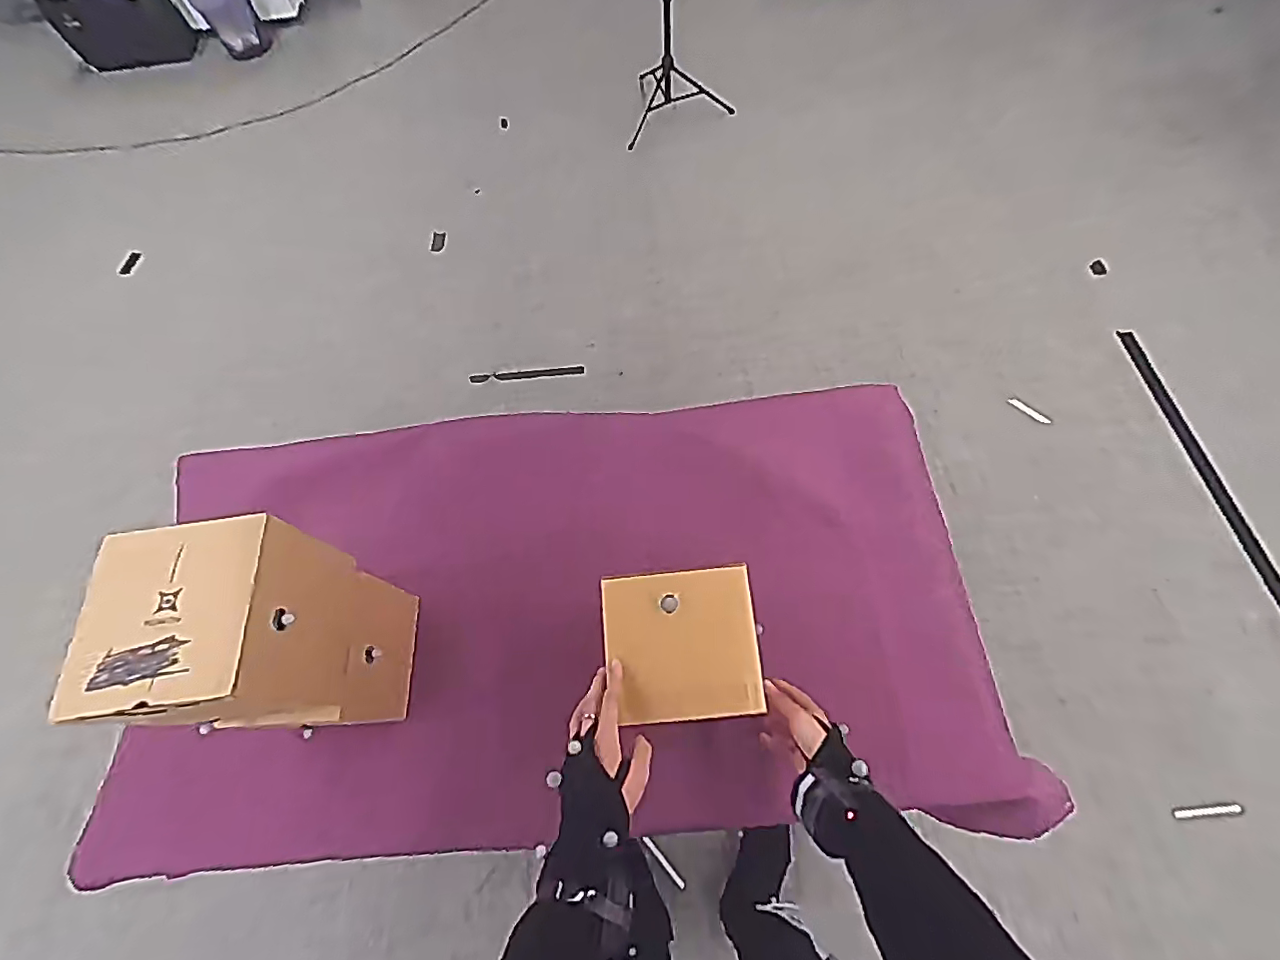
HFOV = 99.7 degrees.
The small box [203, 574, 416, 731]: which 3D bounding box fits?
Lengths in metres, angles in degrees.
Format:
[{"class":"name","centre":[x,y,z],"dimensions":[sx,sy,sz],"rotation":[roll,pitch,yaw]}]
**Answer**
[{"class":"small box","centre":[-0.418,0.233,0.720],"dimensions":[0.168,0.176,0.179],"rotation":[-4,66,1]}]

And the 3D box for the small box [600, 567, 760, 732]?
[{"class":"small box","centre":[0.050,0.212,0.689],"dimensions":[0.179,0.168,0.176],"rotation":[-7,72,1]}]

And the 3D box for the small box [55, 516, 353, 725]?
[{"class":"small box","centre":[-0.433,0.156,0.575],"dimensions":[0.168,0.176,0.179],"rotation":[-8,65,0]}]
